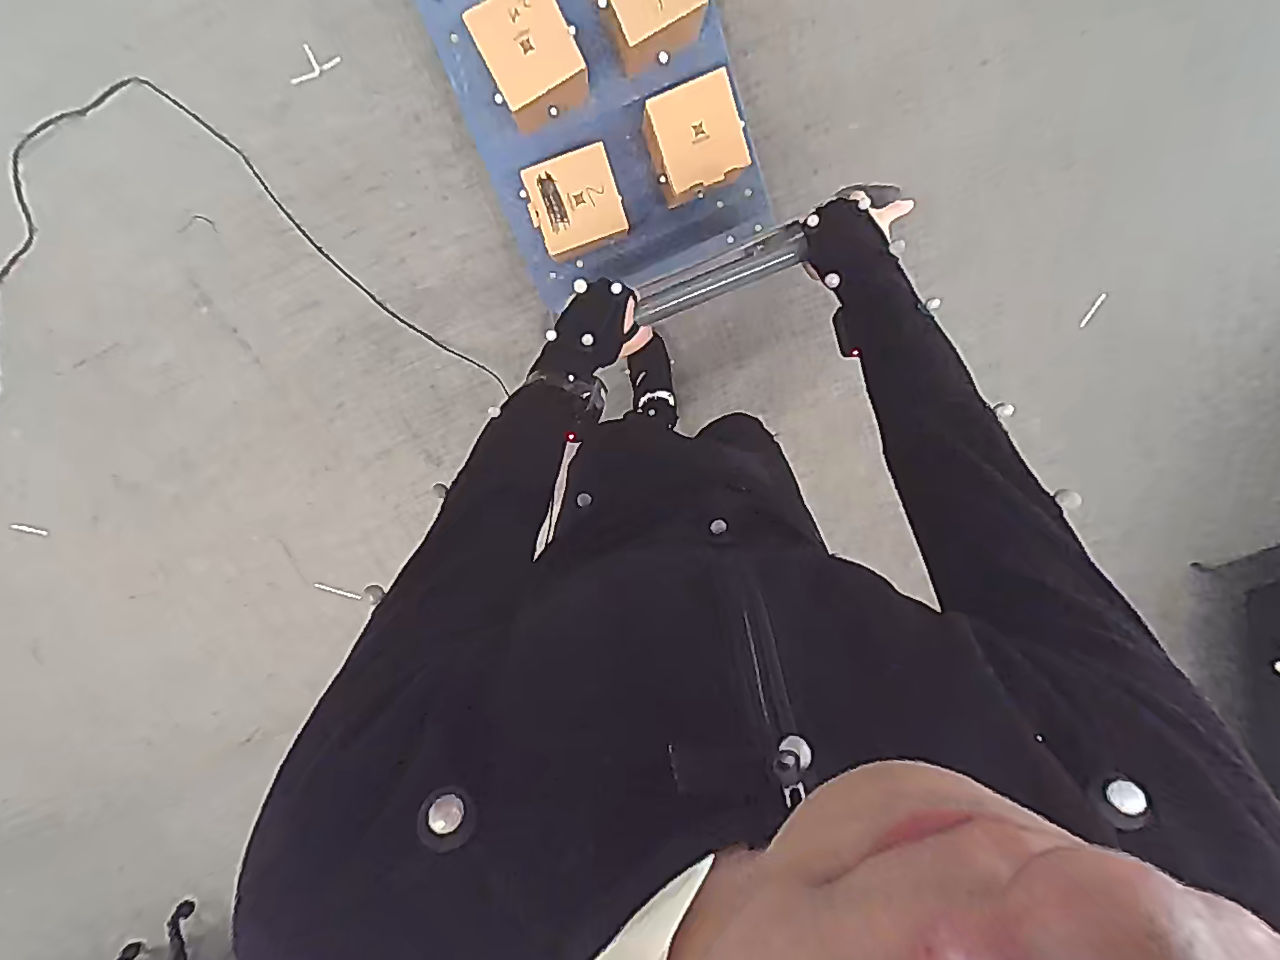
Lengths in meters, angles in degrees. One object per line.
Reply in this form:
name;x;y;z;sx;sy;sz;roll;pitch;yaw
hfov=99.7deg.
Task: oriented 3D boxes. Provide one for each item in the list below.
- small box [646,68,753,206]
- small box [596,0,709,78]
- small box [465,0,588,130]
small box;0.117;-0.707;1.136;0.168;0.176;0.179;-21;108;4
small box;0.015;-0.941;1.054;0.168;0.176;0.179;-26;108;6
small box;-0.213;-0.833;1.077;0.168;0.176;0.179;-28;107;5
